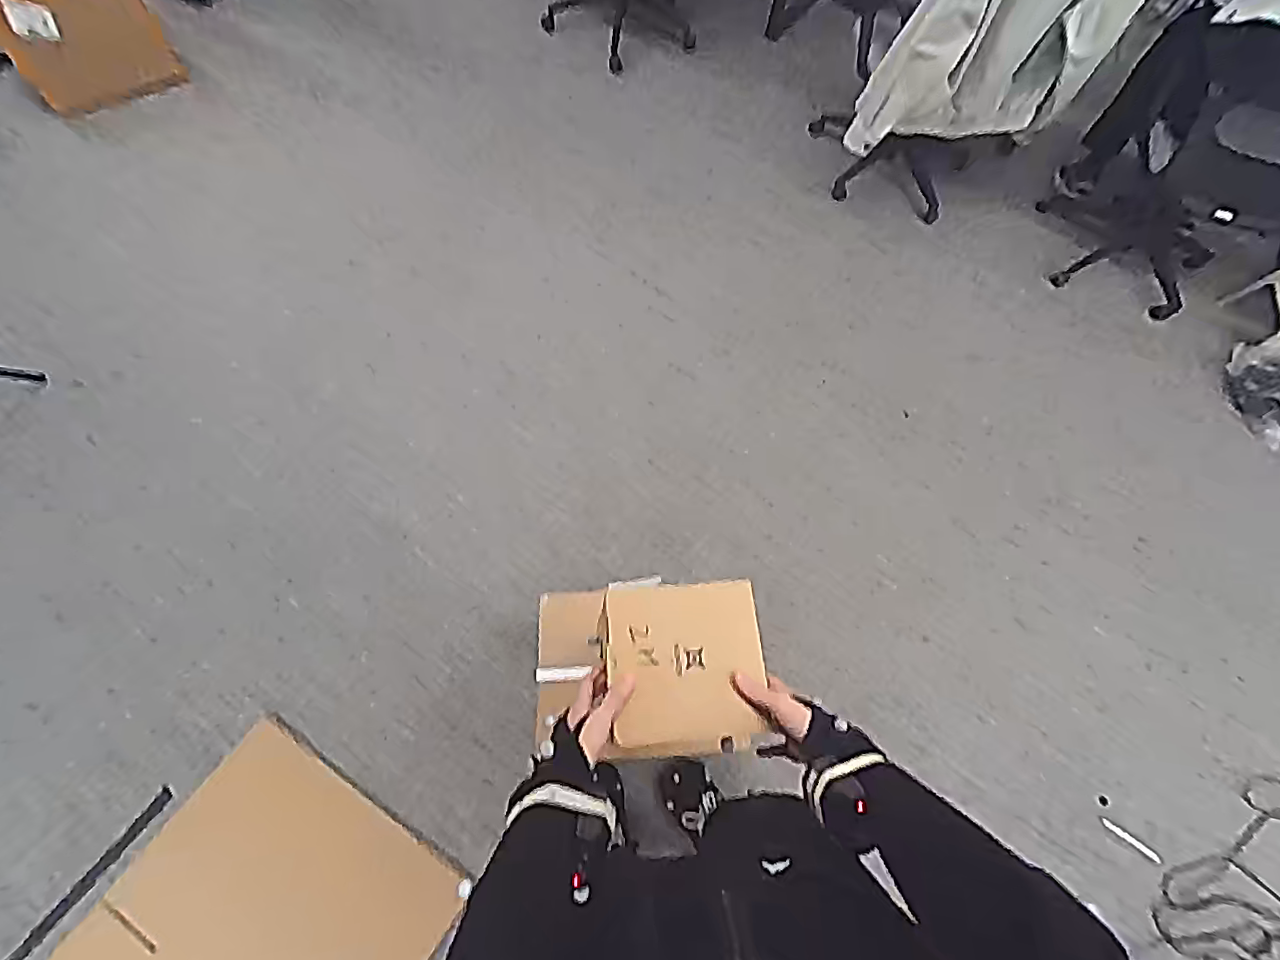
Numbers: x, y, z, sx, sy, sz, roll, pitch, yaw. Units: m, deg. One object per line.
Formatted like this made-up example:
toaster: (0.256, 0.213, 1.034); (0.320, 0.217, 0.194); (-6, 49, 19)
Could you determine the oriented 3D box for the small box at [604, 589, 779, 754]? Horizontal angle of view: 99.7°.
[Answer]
small box: (0.049, 0.235, 0.670); (0.179, 0.176, 0.168); (-3, 67, -7)
